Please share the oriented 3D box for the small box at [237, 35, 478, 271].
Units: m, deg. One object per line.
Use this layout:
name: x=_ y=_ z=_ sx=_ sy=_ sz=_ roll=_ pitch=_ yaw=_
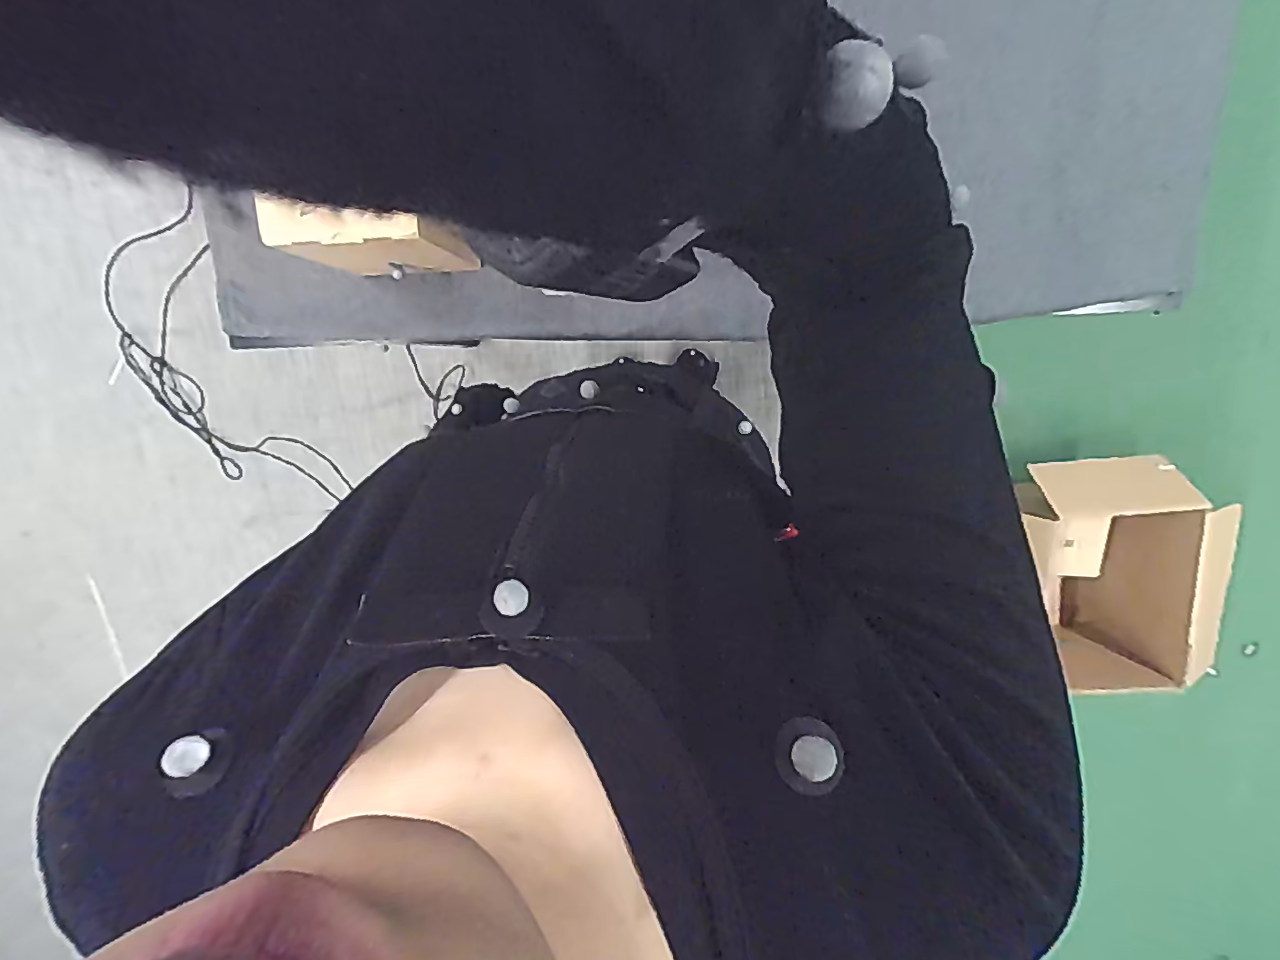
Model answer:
small box: x=-0.291 y=-0.340 z=0.597 sx=0.168 sy=0.176 sz=0.179 roll=-1 pitch=102 yaw=4
